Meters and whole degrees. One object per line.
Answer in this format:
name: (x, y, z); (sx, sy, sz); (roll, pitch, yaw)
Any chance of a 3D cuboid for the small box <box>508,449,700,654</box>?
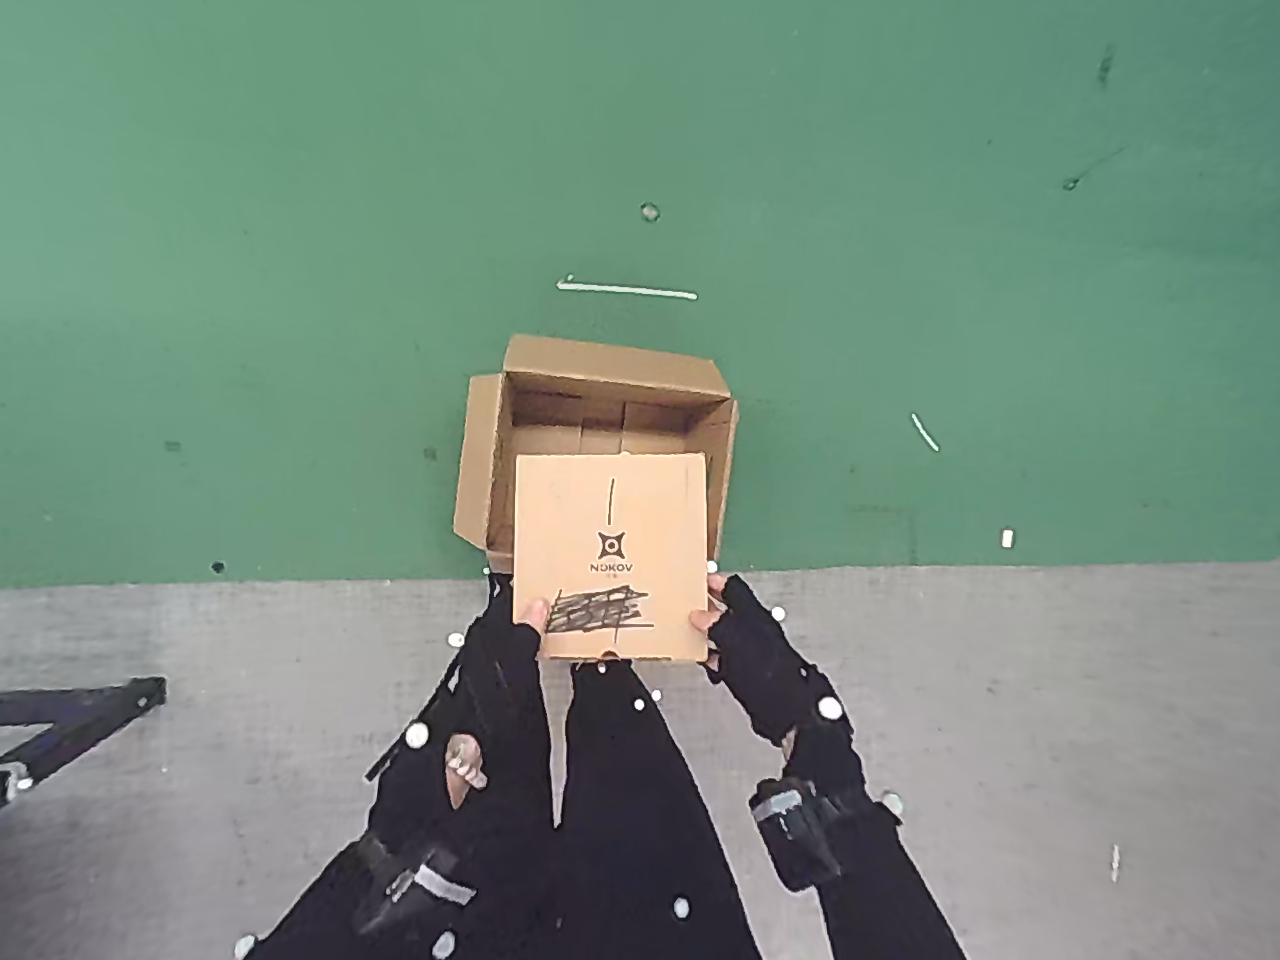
small box: (-0.027, 0.066, 0.543); (0.168, 0.176, 0.179); (0, 84, 1)
